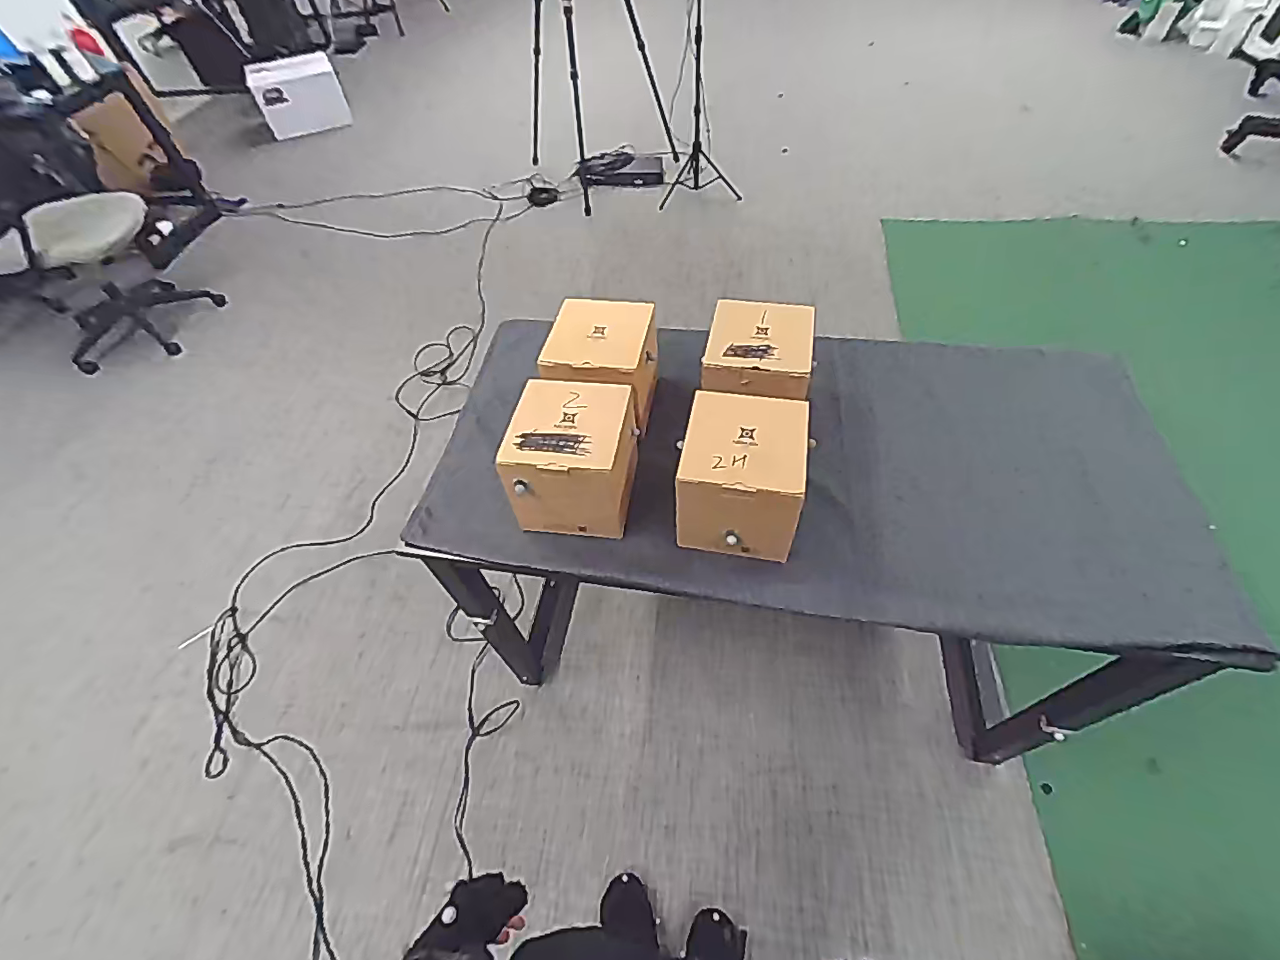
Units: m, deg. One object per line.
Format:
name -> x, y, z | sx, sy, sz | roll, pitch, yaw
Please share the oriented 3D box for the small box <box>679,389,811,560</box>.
small box -> 0.151, -0.007, 0.803 | 0.168, 0.176, 0.179 | 8, 53, 10
